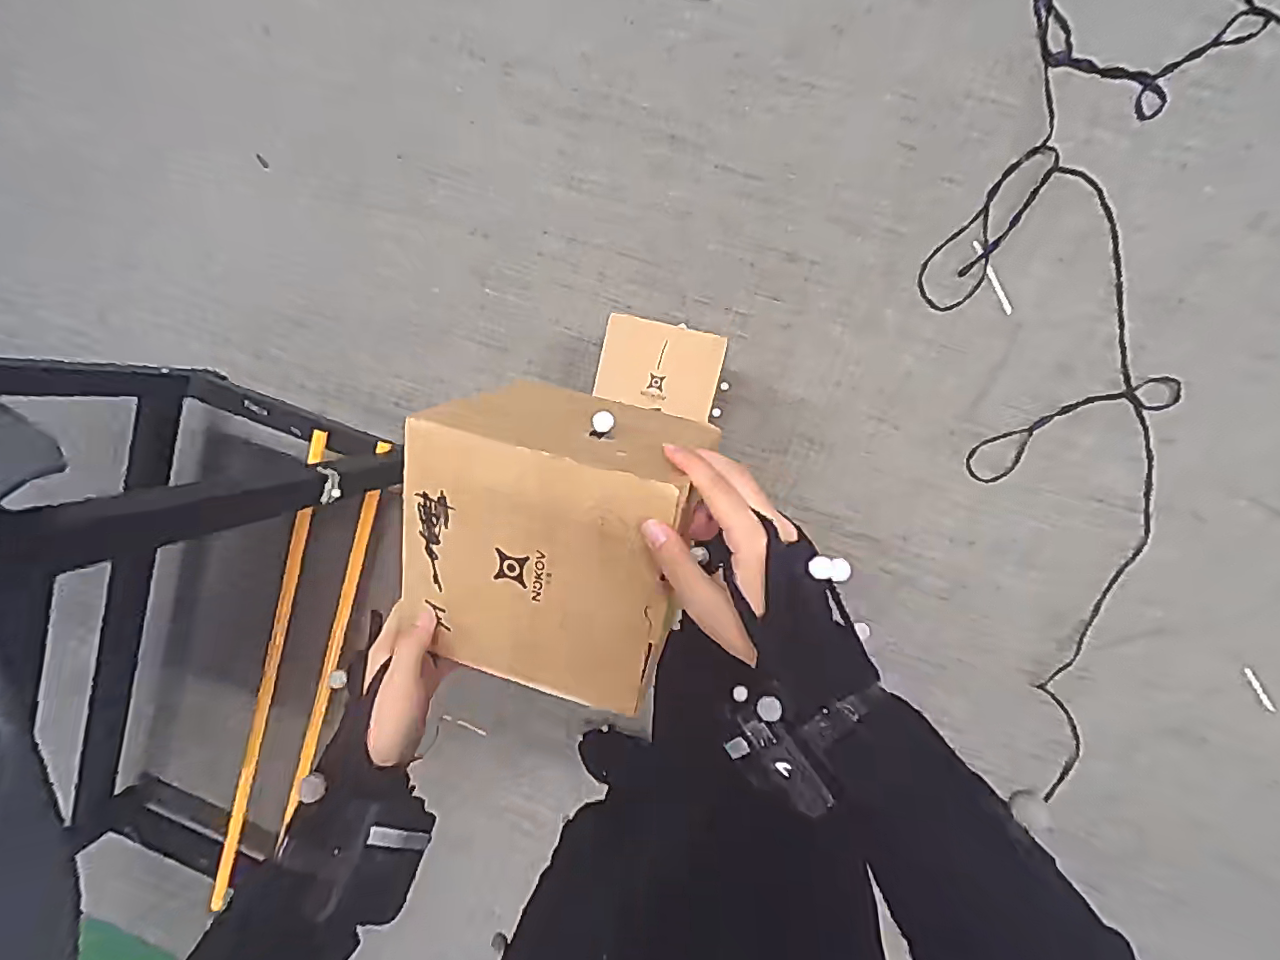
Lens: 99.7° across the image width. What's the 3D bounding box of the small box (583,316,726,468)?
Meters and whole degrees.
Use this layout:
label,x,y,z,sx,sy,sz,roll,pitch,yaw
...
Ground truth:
label,x,y,z,sx,sy,sz,roll,pitch,yaw
small box,0.030,-0.128,0.811,0.168,0.176,0.179,15,99,6
